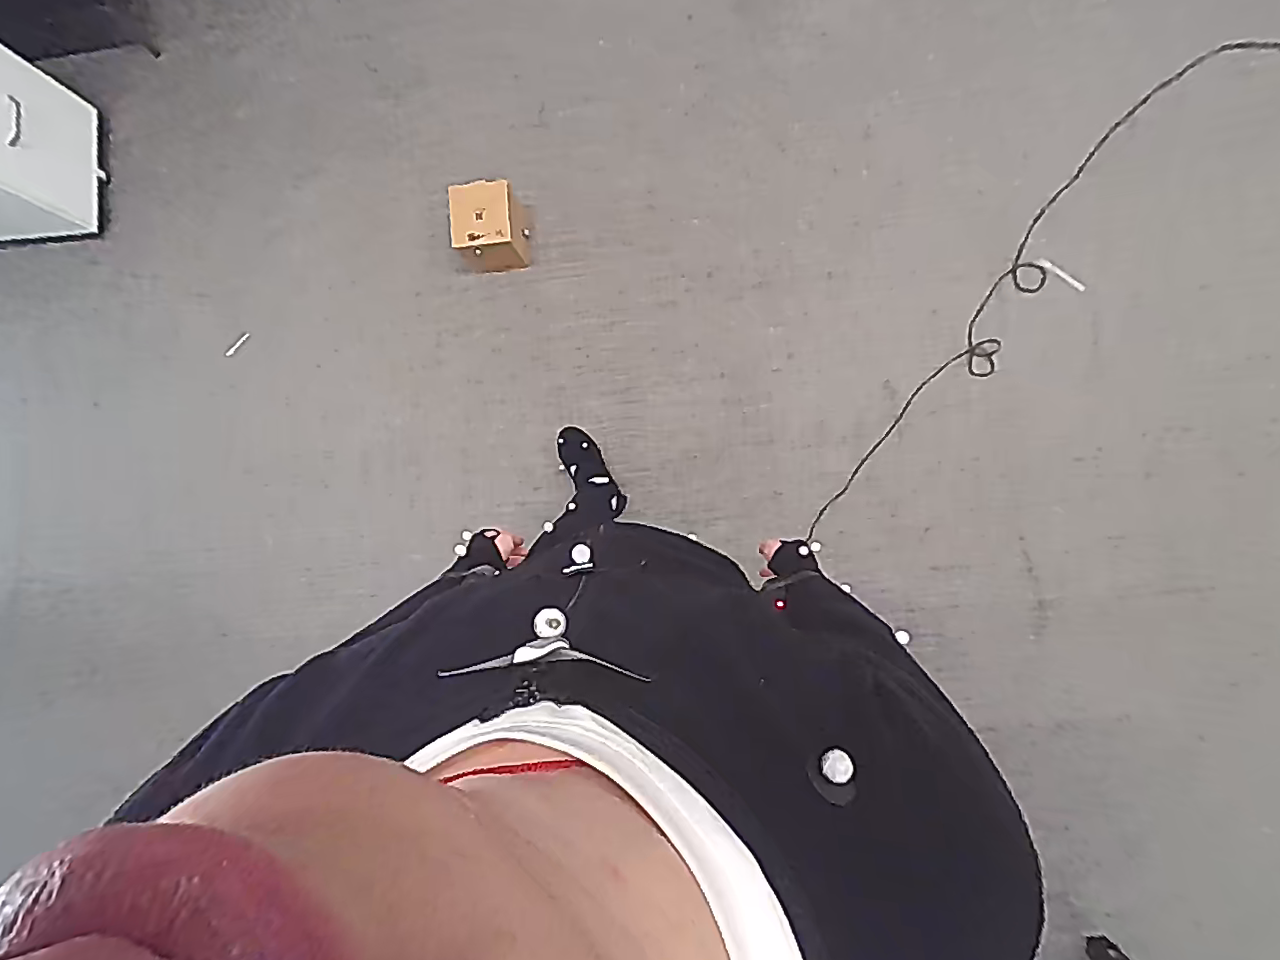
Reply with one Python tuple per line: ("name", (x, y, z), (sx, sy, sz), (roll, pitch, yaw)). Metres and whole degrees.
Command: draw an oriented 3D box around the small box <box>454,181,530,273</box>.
("small box", (-0.418, -0.717, 1.547), (0.168, 0.176, 0.179), (-3, 87, 5))
